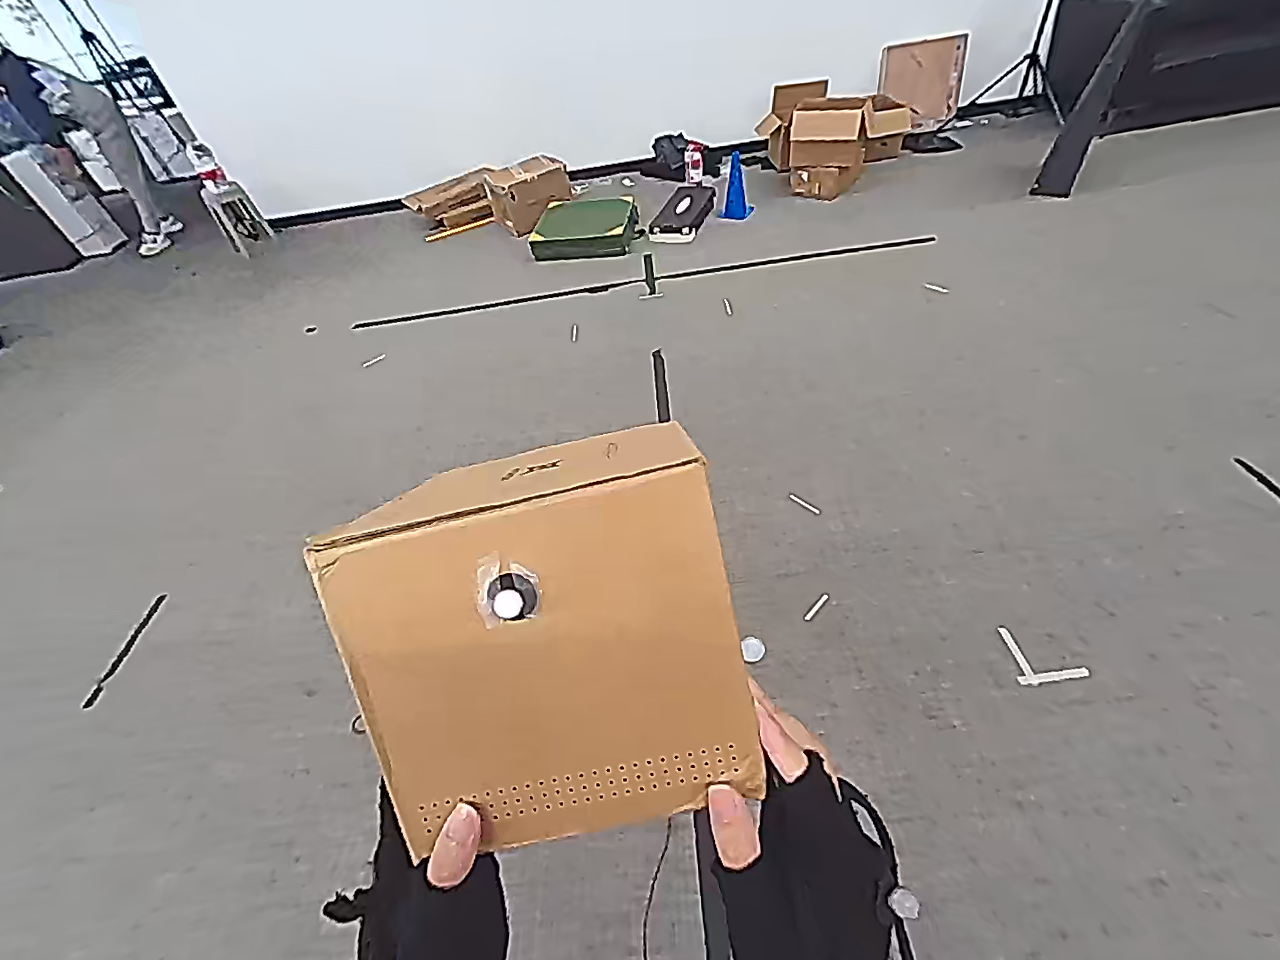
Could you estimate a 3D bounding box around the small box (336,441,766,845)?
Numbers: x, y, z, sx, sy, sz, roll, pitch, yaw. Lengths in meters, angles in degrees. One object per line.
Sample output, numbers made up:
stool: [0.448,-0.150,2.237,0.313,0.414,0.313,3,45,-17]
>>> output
small box: [-0.037,0.084,0.333,0.179,0.176,0.168,-12,11,3]
